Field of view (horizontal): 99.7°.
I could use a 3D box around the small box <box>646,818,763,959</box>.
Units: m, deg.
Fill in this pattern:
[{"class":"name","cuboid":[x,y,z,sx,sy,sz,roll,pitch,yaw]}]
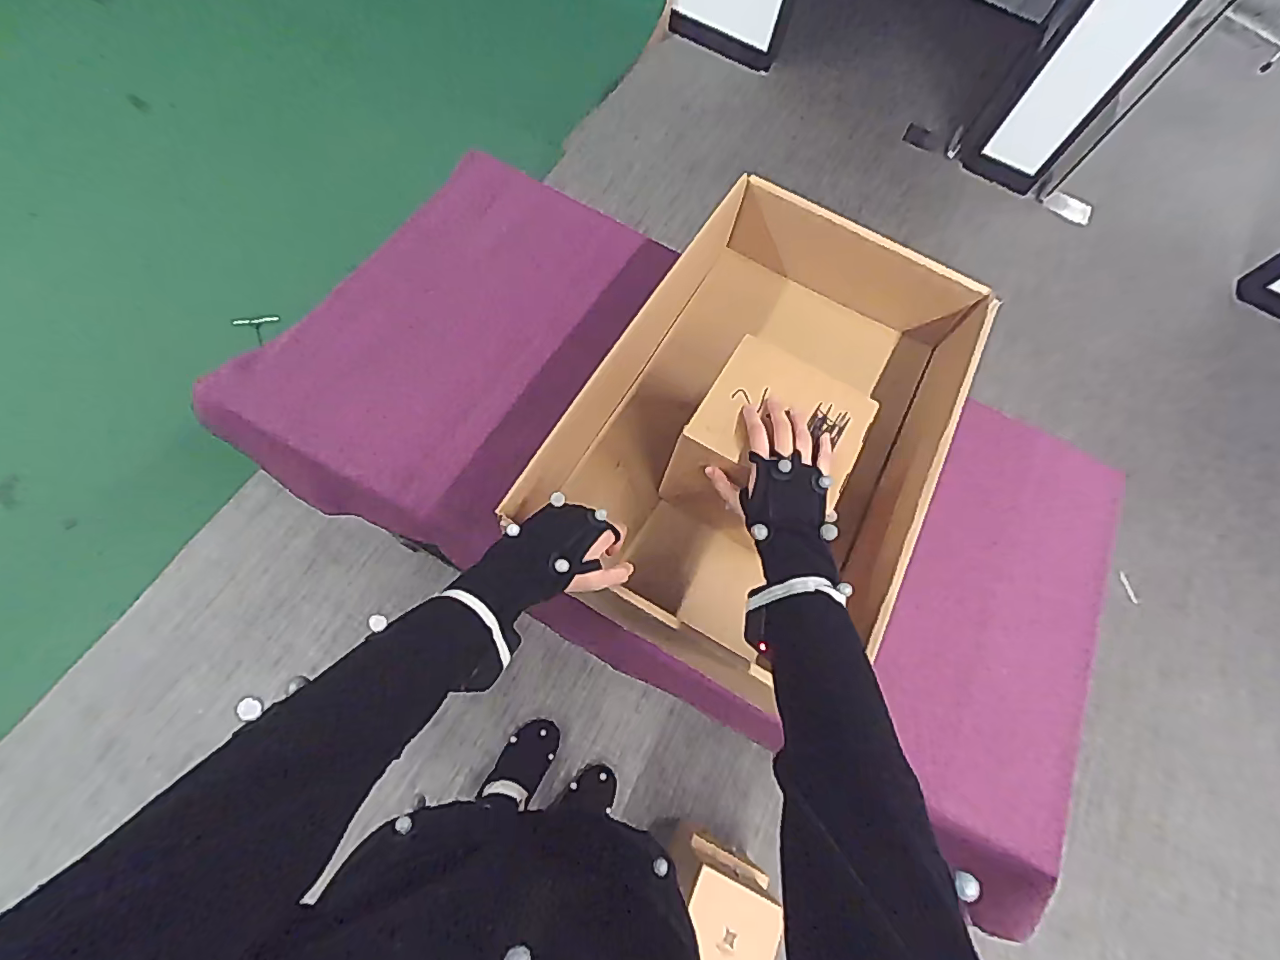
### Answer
[{"class":"small box","cuboid":[0.130,0.854,1.149,0.179,0.176,0.168,28,68,5]}]
